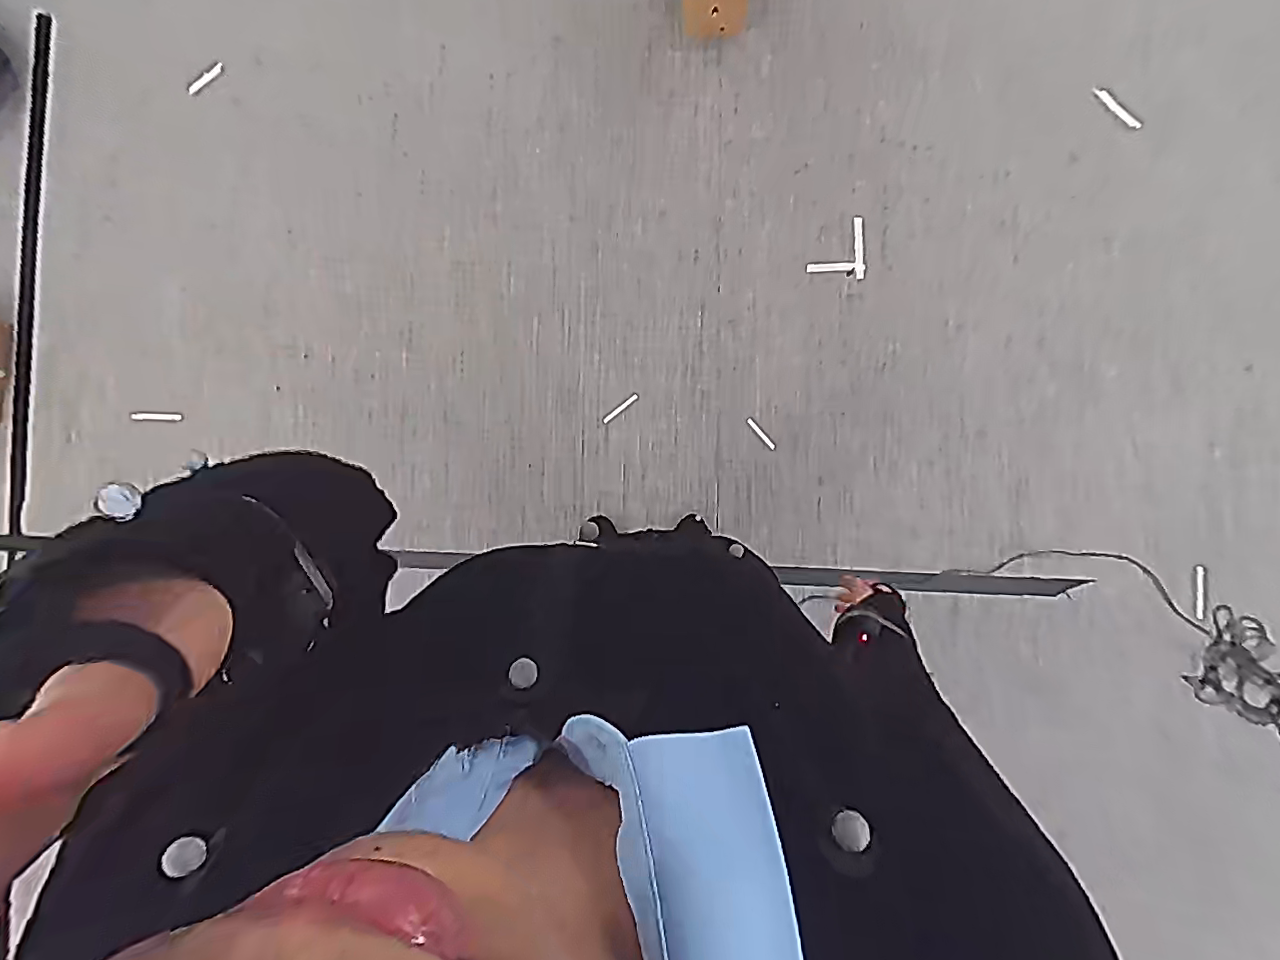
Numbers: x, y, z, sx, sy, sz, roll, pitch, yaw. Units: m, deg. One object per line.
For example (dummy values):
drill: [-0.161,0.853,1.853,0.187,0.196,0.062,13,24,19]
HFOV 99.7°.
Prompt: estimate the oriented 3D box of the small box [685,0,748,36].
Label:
small box: [0.208,-1.347,1.461,0.168,0.176,0.179,-1,87,2]
